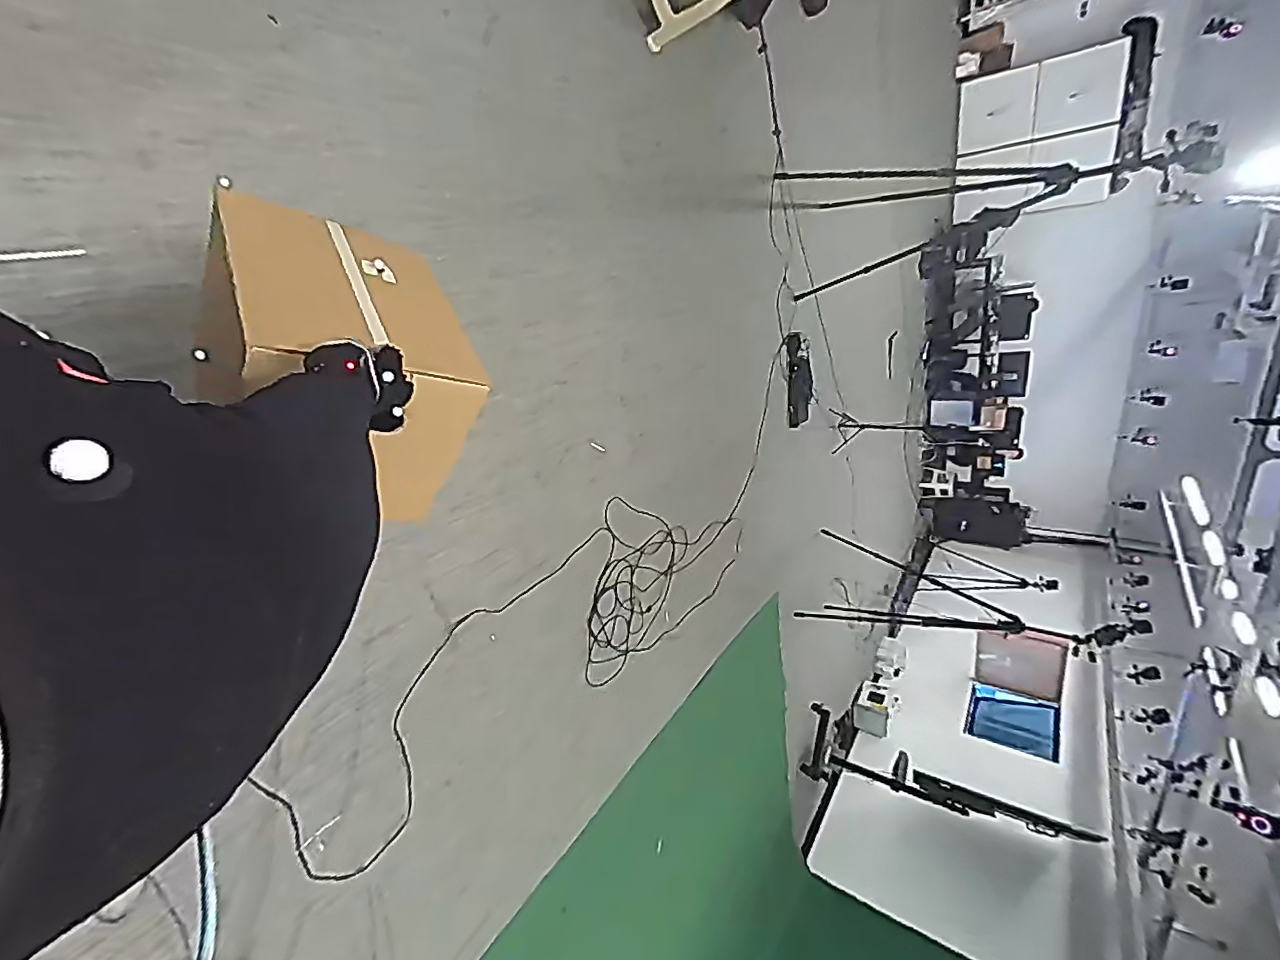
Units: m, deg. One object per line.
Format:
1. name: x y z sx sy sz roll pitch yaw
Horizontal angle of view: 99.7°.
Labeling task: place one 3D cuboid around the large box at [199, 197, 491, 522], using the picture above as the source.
1. large box: -0.509 -0.182 0.900 0.320 0.408 0.320 2 134 -46
